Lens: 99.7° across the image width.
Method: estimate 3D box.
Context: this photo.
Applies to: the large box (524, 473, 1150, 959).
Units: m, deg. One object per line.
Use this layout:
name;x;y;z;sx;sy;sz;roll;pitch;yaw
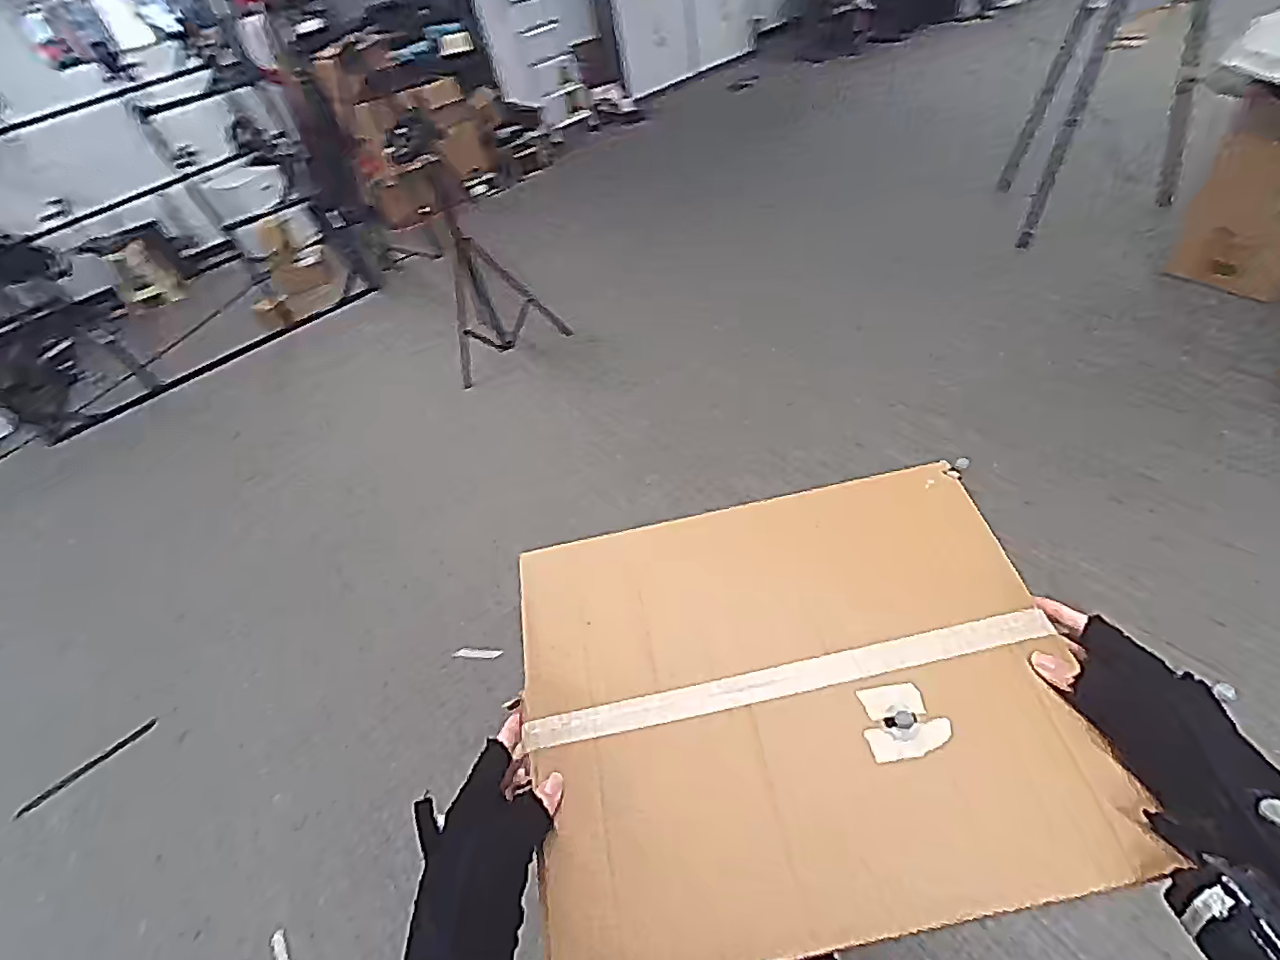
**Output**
large box;0.128;0.243;0.552;0.408;0.320;0.320;-13;57;-1
